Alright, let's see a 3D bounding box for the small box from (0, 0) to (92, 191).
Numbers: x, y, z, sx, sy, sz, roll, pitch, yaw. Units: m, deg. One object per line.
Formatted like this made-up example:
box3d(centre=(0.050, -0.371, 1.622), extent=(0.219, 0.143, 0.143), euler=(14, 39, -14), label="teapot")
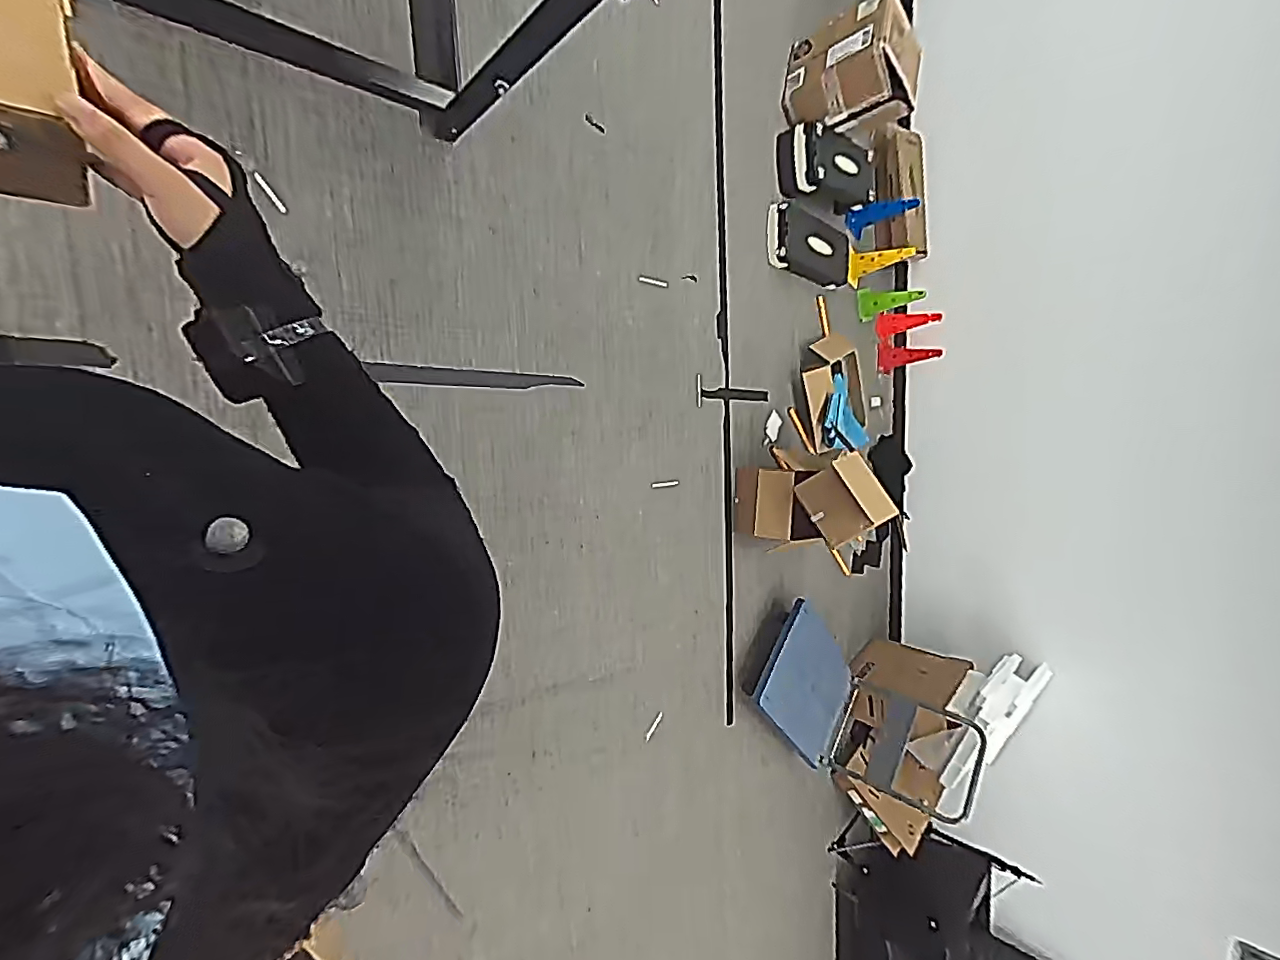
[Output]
box3d(centre=(-0.454, -0.294, 0.315), extent=(0.179, 0.176, 0.168), euler=(-10, 100, -45), label="small box")
